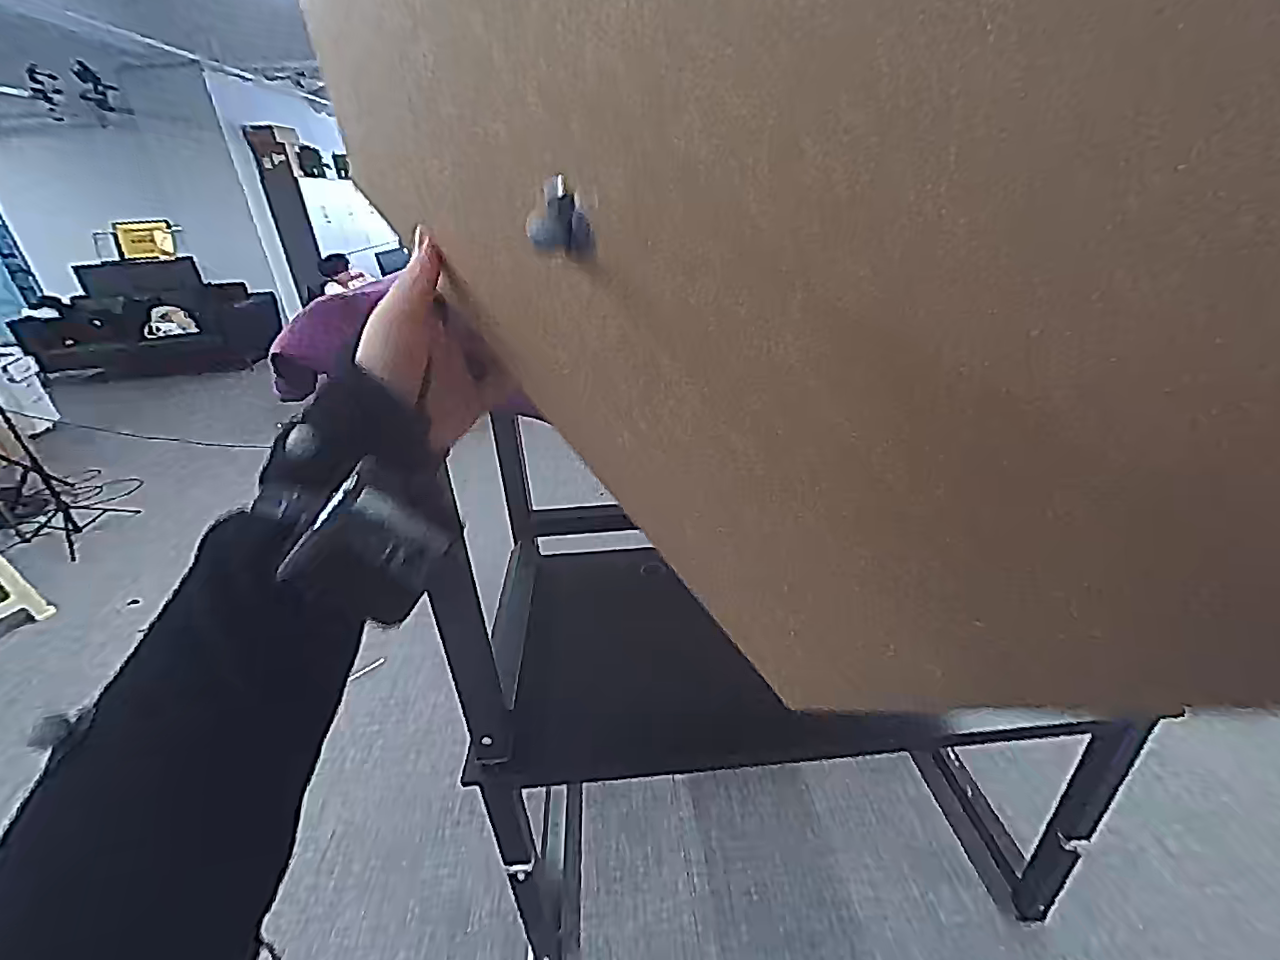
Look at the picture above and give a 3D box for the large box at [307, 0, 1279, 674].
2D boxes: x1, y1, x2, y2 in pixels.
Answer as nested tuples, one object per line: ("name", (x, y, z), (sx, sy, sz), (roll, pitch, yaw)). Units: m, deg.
("large box", (0.090, -0.182, 0.235), (0.320, 0.320, 0.408), (-36, 78, -24))
